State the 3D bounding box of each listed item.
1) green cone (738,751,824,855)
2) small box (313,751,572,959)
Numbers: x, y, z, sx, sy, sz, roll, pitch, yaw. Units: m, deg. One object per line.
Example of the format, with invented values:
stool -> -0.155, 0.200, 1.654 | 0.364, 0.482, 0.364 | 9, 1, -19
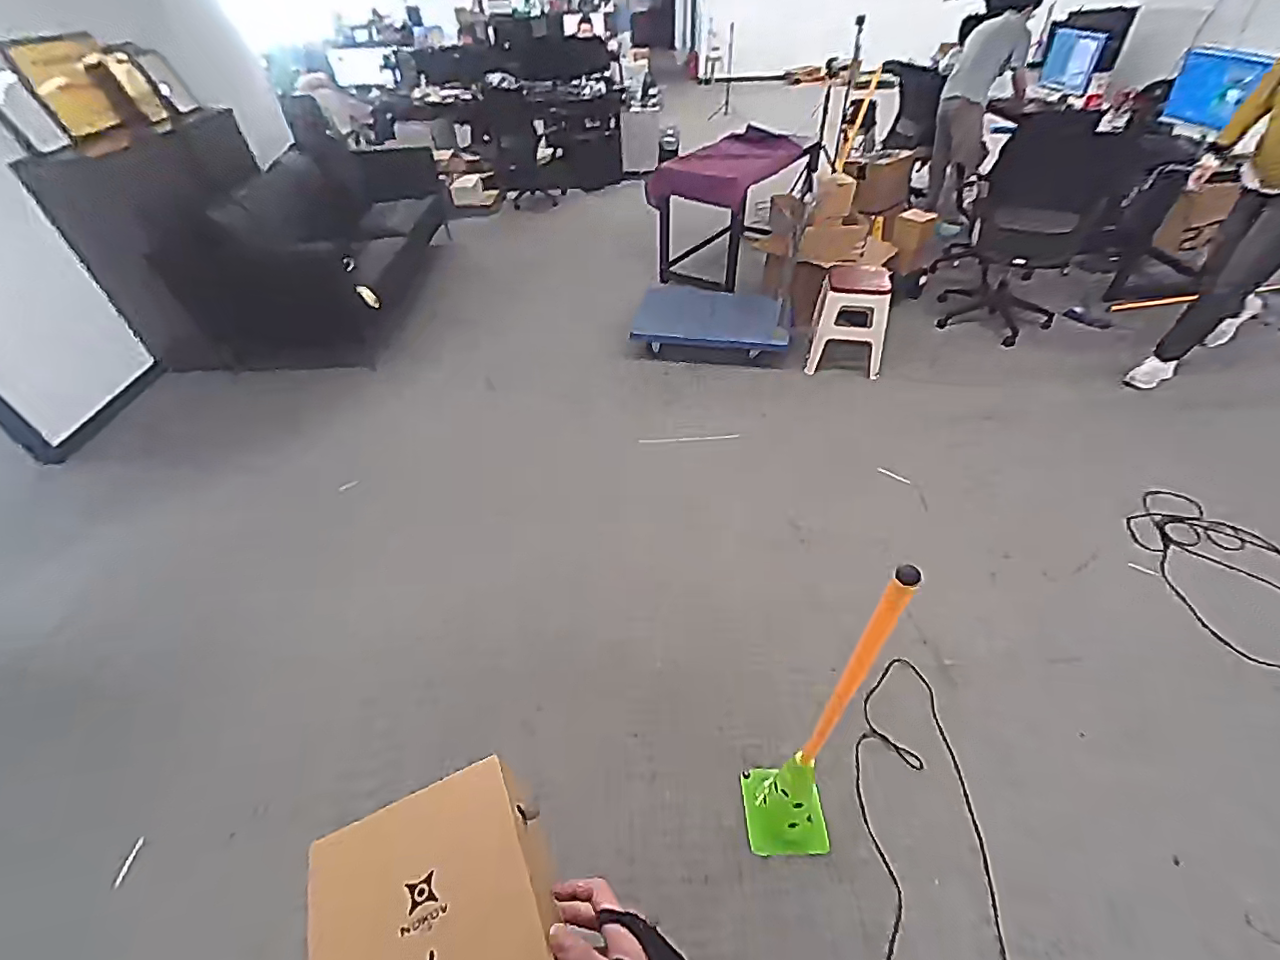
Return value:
green cone -> 0.366, 0.748, 1.310 | 0.202, 0.368, 0.200 | -1, 44, 0
small box -> -0.168, 0.391, 0.484 | 0.168, 0.176, 0.179 | -20, 44, -15
